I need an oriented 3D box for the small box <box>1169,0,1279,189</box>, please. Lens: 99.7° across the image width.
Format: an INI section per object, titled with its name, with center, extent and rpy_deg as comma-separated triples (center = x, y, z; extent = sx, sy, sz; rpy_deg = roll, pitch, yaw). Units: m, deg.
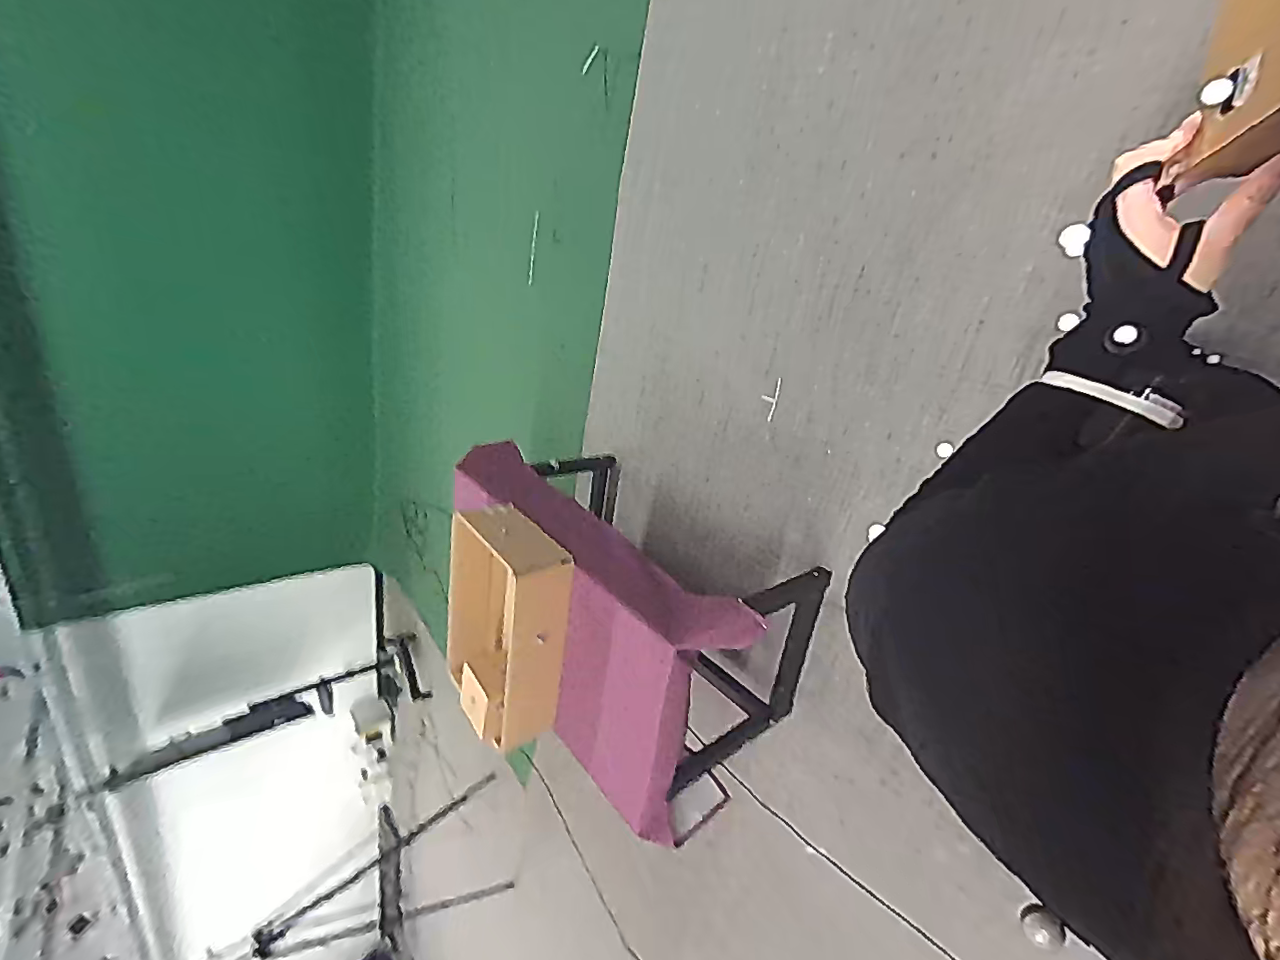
[small box]
center = 0.404, -0.257, 0.243
extent = 0.168, 0.179, 0.176
rpy_deg = 8, 98, 17
